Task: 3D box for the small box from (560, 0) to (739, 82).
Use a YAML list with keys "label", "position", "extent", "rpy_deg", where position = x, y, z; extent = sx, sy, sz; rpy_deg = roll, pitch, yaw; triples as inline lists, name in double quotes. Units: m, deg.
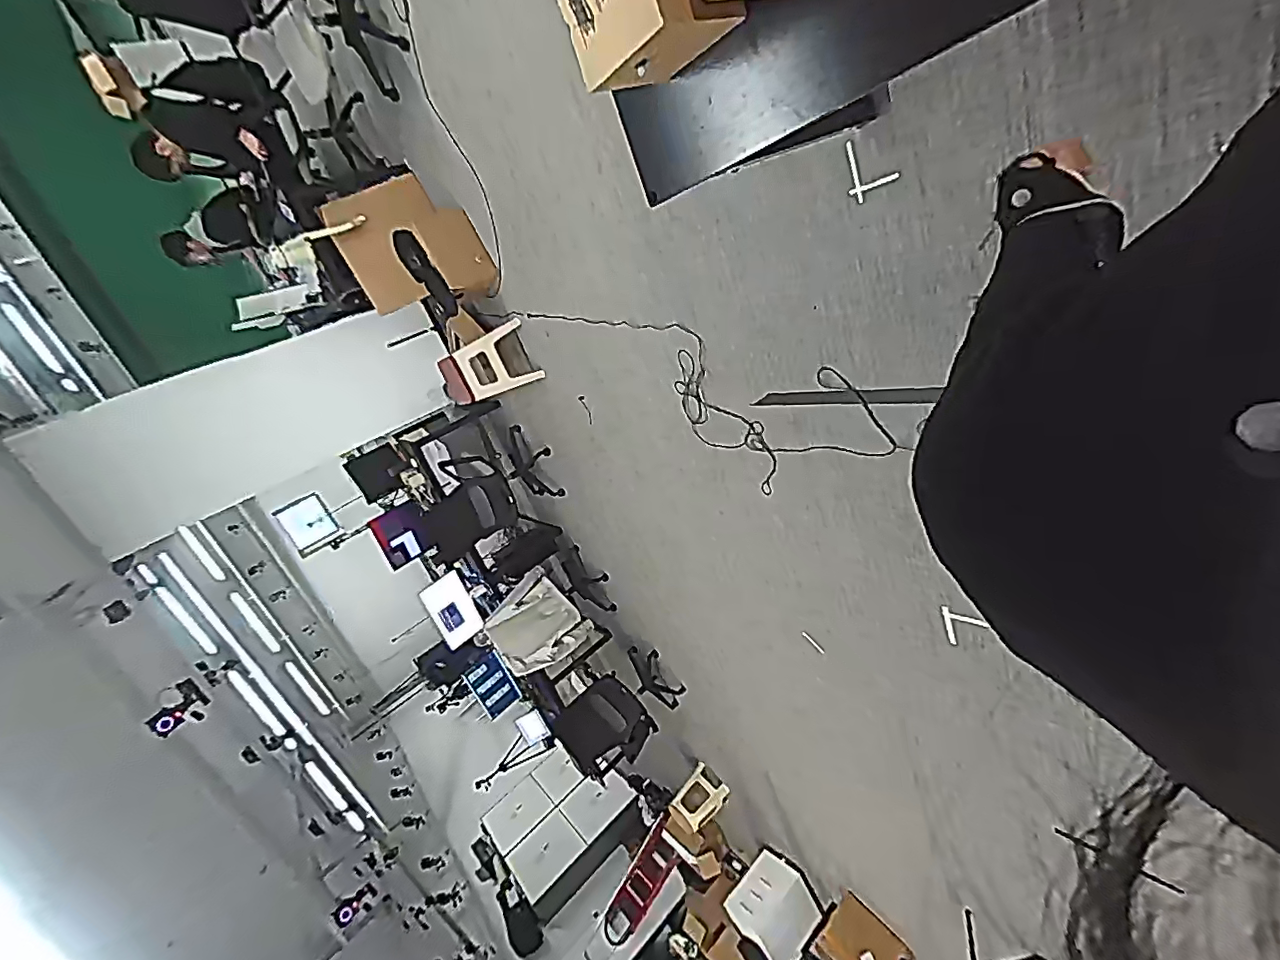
- label: "small box"
  position: [0.006, -0.677, 0.729]
  extent: [0.179, 0.176, 0.168]
  rpy_deg: [8, 127, 52]
